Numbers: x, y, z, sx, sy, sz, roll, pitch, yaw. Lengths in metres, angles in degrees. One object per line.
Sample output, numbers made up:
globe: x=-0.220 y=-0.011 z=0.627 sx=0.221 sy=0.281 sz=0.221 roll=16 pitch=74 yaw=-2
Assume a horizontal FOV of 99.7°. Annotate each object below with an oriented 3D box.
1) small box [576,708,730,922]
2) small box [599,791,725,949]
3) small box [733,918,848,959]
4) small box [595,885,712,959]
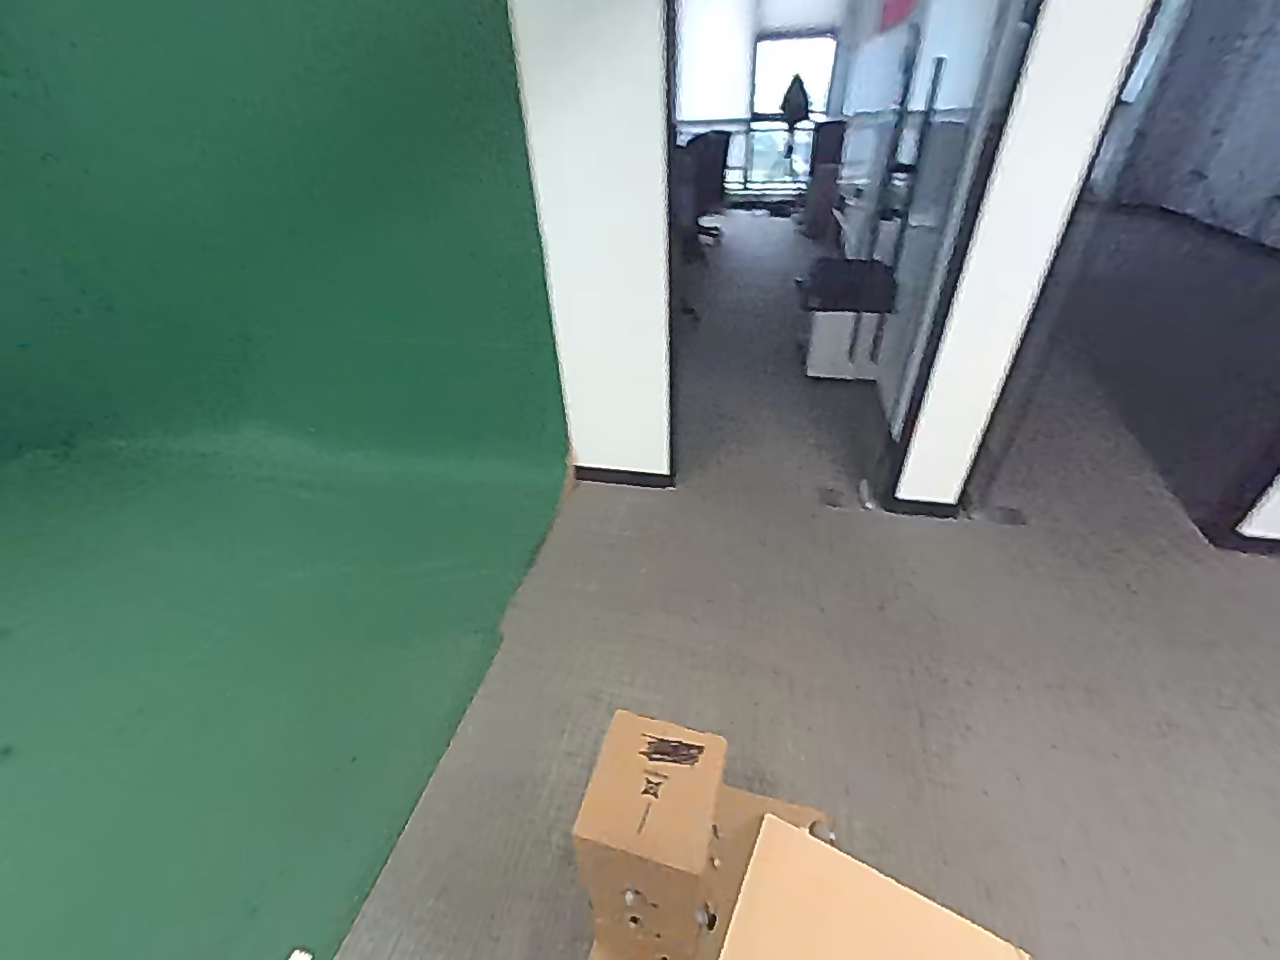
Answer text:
small box: x=0.024 y=0.460 z=0.753 sx=0.168 sy=0.176 sz=0.179 roll=9 pitch=37 yaw=16
small box: x=0.034 y=0.588 z=0.856 sx=0.168 sy=0.176 sz=0.179 roll=9 pitch=38 yaw=15
small box: x=0.211 y=0.812 z=0.802 sx=0.168 sy=0.176 sz=0.179 roll=10 pitch=35 yaw=17
small box: x=0.035 y=0.724 z=0.947 sx=0.168 sy=0.176 sz=0.179 roll=8 pitch=35 yaw=15
